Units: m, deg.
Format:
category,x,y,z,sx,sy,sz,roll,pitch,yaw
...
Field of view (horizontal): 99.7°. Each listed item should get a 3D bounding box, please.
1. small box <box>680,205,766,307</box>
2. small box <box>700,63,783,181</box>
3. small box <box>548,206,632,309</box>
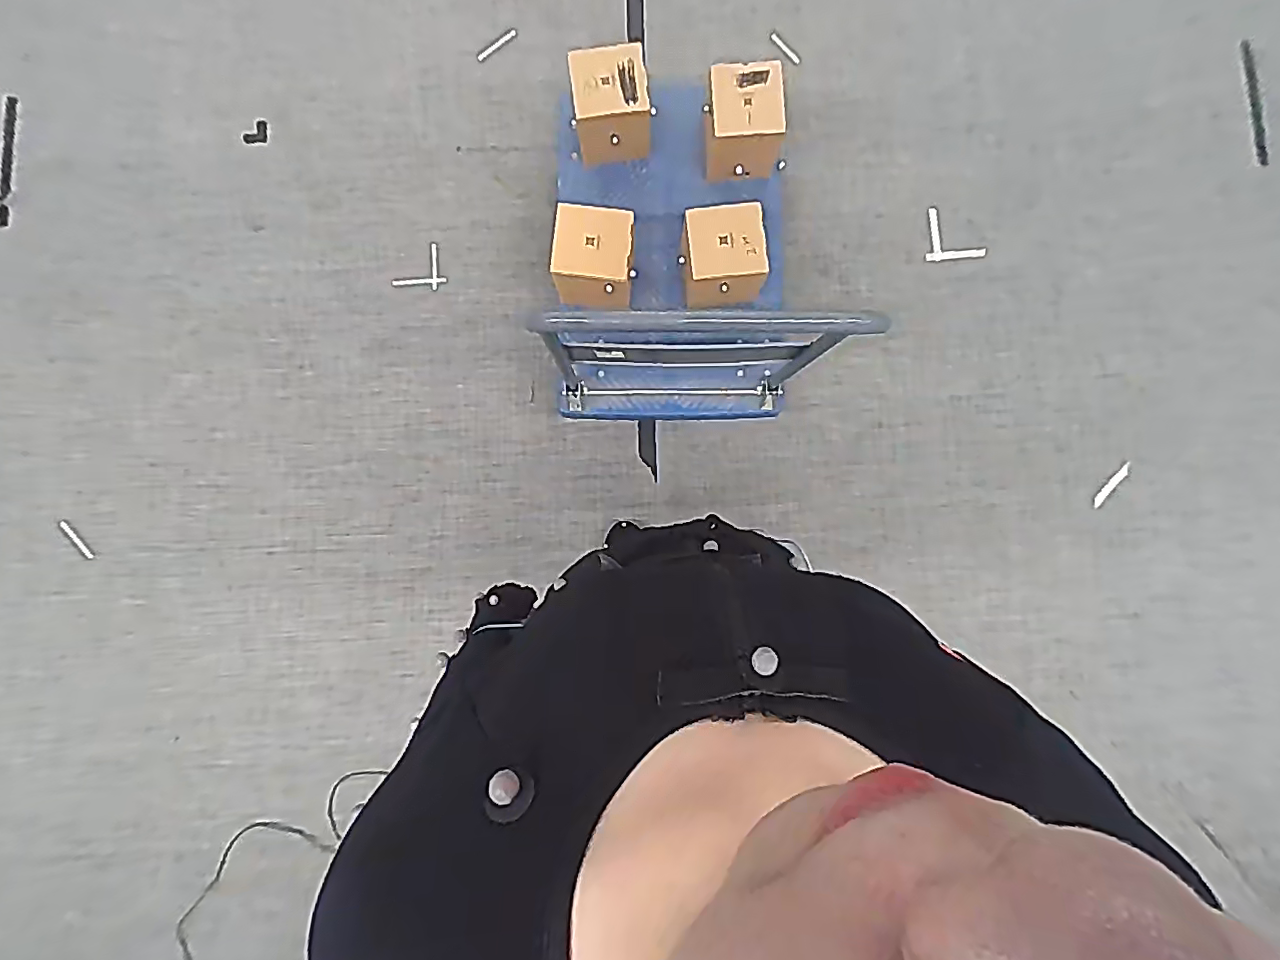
category,x,y,z,sx,sy,sz,roll,pitch,yaw
small box,0.190,-0.527,1.293,0.179,0.176,0.168,-6,87,0
small box,0.240,-0.863,1.314,0.168,0.176,0.179,-3,87,0
small box,-0.114,-0.524,1.293,0.179,0.176,0.168,6,86,-1
